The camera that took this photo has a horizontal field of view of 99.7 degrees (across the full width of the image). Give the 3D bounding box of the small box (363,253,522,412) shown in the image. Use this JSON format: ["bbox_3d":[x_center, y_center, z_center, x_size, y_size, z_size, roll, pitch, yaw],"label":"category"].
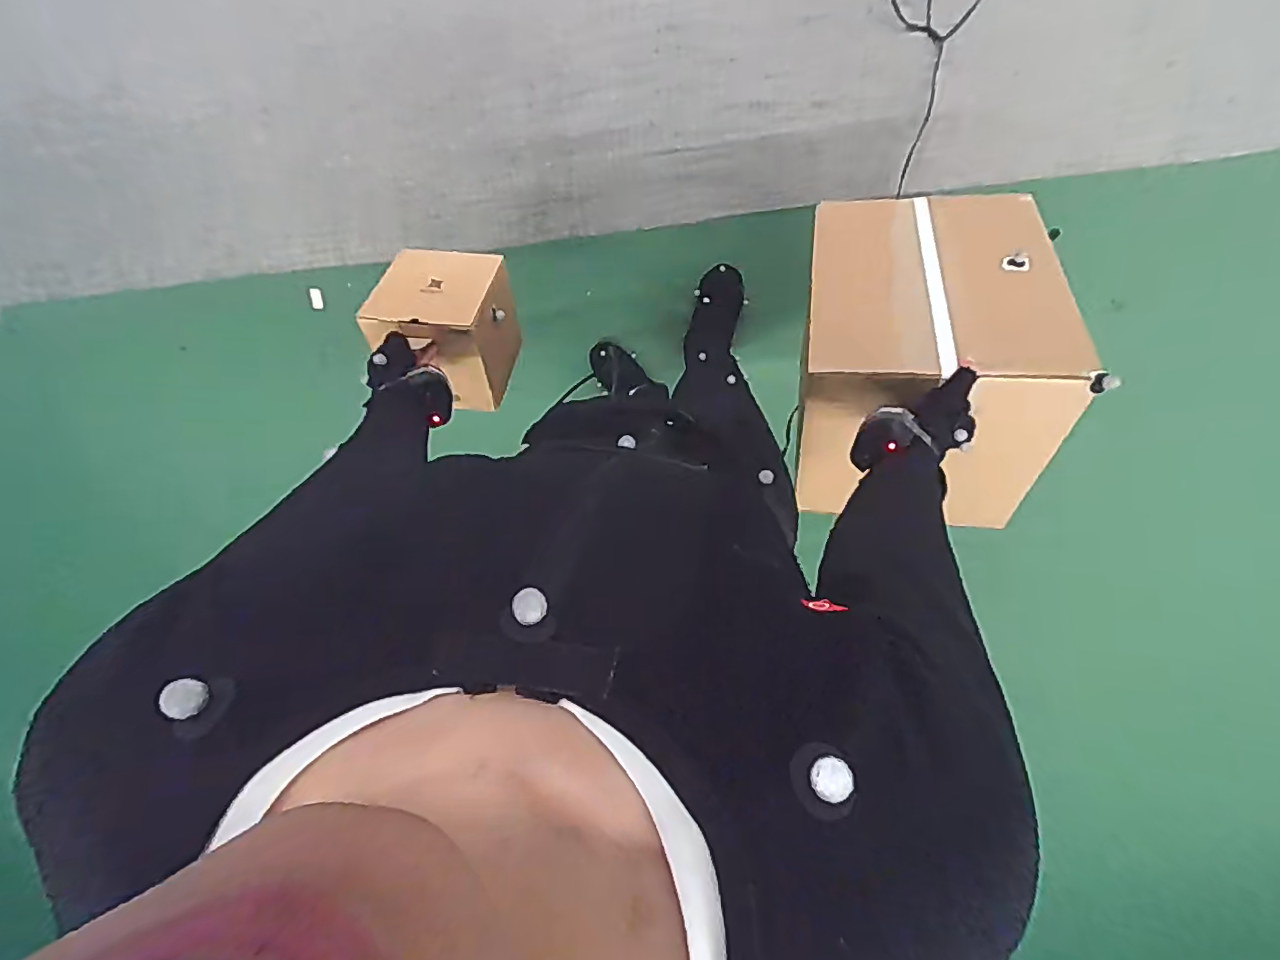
[{"bbox_3d":[-0.296,-0.232,0.859,0.168,0.179,0.176,5,144,5],"label":"small box"}]
